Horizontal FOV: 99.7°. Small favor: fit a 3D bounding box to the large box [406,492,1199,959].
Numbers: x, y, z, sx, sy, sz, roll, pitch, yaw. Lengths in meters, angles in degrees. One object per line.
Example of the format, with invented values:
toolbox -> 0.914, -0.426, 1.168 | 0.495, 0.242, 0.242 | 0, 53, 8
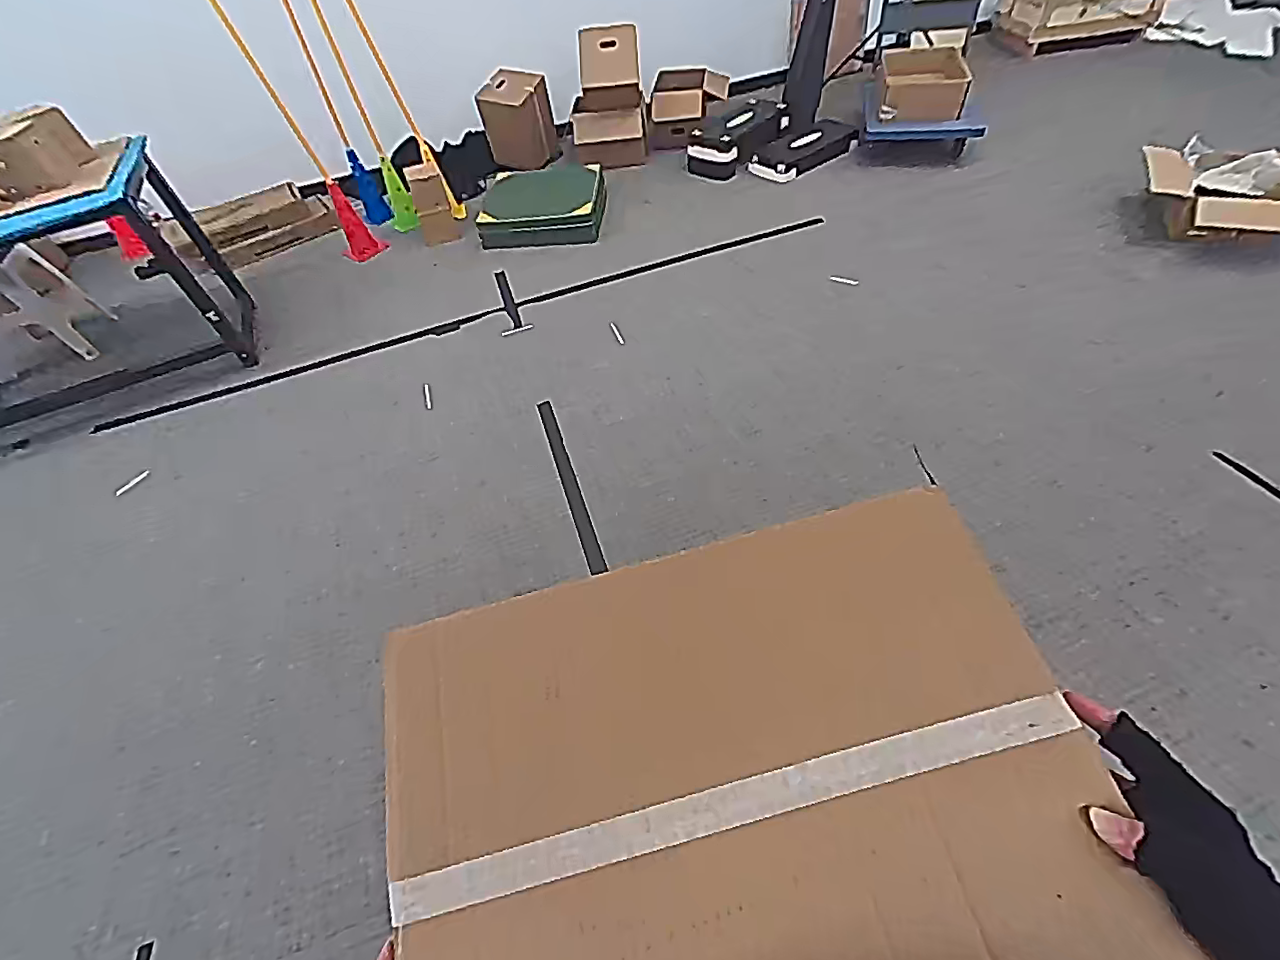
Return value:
large box -> 0.073, 0.260, 0.455 | 0.408, 0.320, 0.320 | -16, 63, -1
